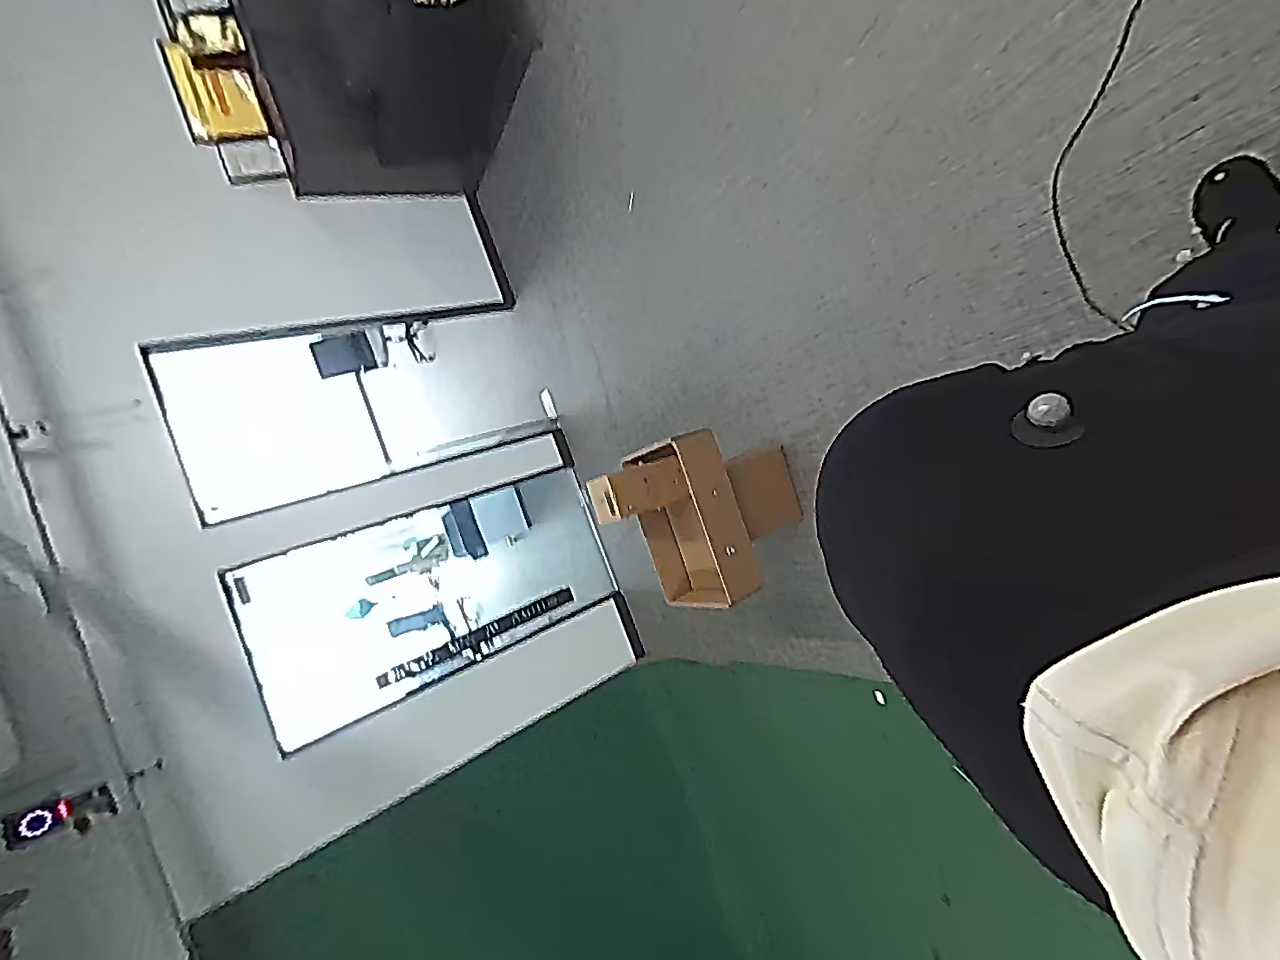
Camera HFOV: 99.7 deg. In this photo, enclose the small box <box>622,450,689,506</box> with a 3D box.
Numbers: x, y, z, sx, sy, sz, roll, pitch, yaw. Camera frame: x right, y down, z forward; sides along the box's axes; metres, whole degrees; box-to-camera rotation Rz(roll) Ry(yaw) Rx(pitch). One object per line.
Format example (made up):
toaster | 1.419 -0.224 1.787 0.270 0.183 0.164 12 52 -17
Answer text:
small box | 0.062 -0.008 2.086 0.179 0.176 0.168 -17 91 57
